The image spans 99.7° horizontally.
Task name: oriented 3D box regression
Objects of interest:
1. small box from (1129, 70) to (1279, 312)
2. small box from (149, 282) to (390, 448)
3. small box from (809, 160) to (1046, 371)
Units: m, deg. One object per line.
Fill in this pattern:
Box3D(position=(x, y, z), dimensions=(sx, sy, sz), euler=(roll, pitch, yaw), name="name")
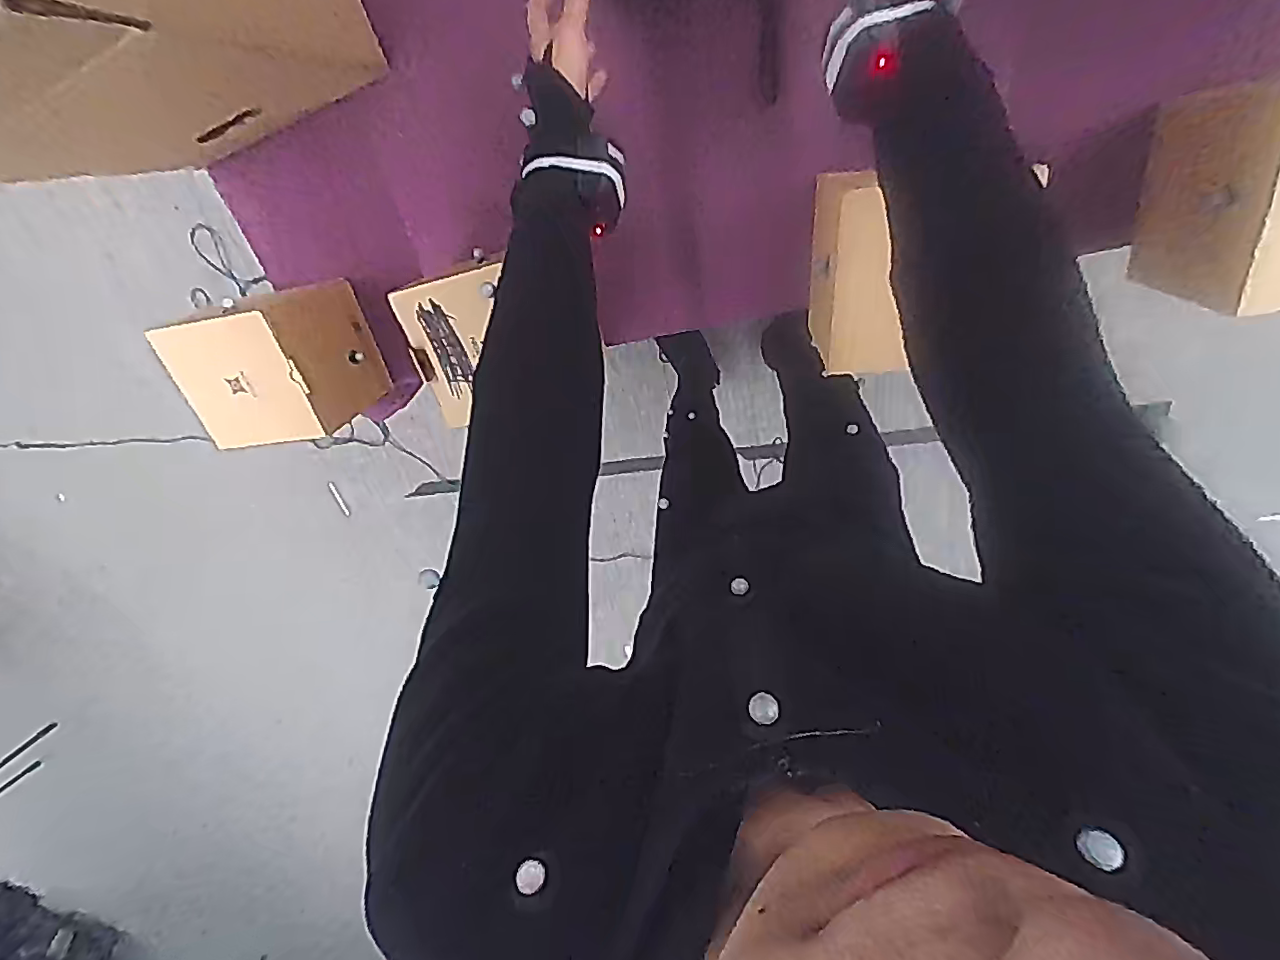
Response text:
Box3D(position=(0.595, -0.271, 0.486), dimensions=(0.168, 0.176, 0.179), euler=(-6, 121, 15), name="small box")
Box3D(position=(-0.487, -0.161, 0.742), dimensions=(0.179, 0.176, 0.168), euler=(-6, 121, 12), name="small box")
Box3D(position=(0.275, -0.230, 0.569), dimensions=(0.168, 0.176, 0.179), euler=(-1, 124, 10), name="small box")
